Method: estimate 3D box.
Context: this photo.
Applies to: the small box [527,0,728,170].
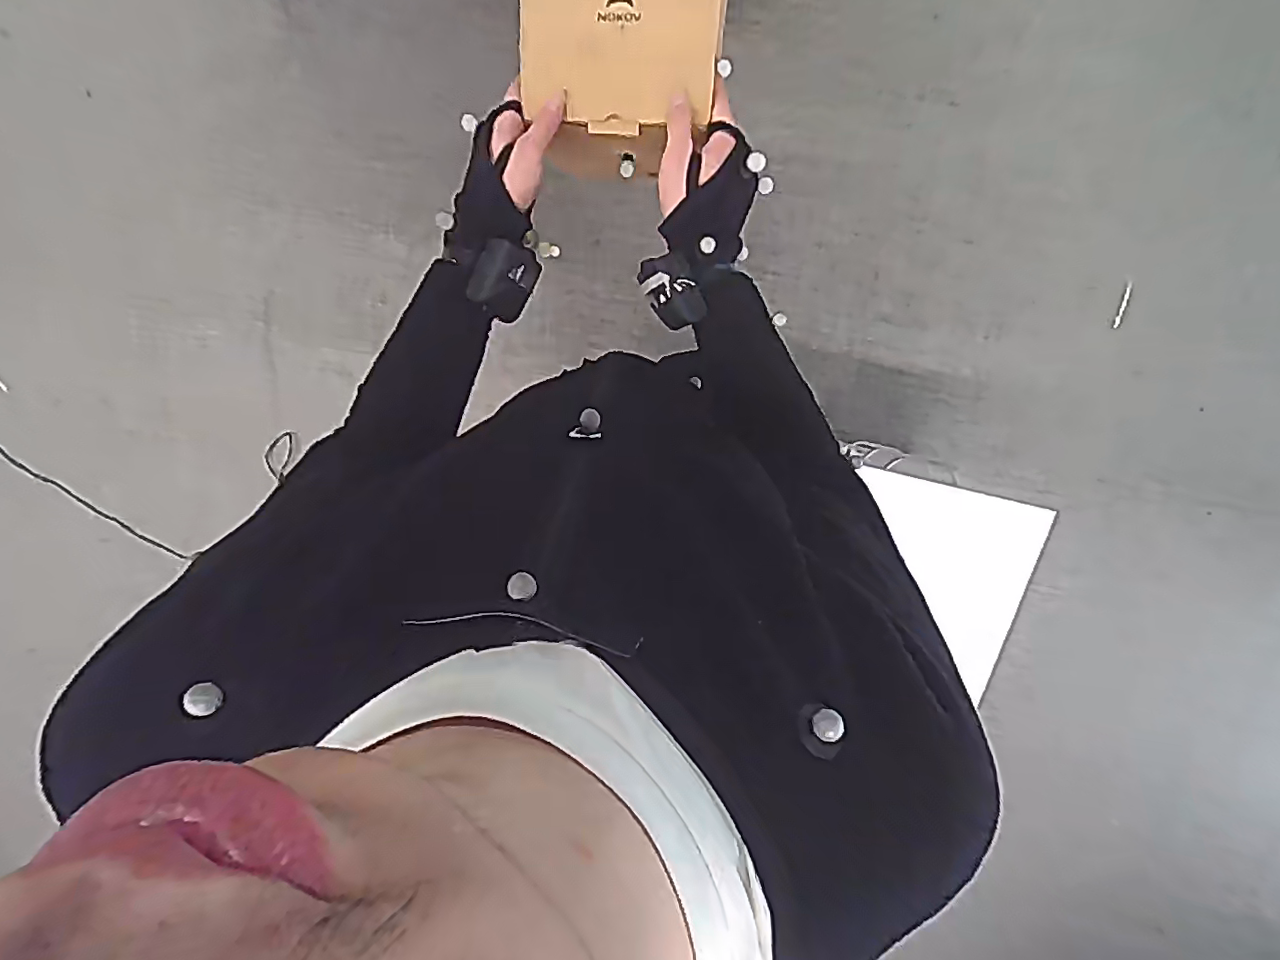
[{"bbox_3d":[-0.003,-0.412,0.517,0.168,0.176,0.179,3,106,7],"label":"small box"}]
